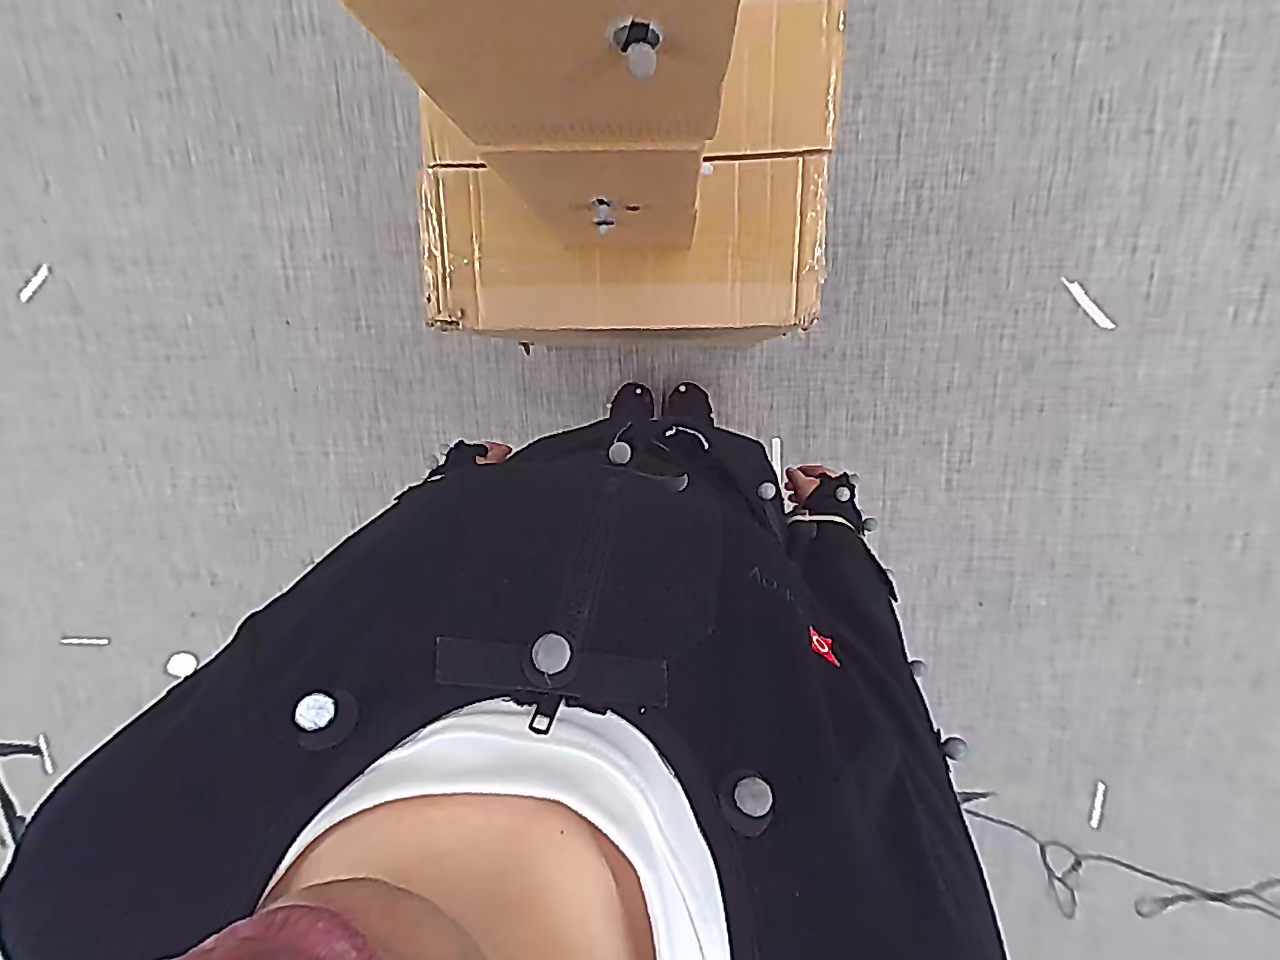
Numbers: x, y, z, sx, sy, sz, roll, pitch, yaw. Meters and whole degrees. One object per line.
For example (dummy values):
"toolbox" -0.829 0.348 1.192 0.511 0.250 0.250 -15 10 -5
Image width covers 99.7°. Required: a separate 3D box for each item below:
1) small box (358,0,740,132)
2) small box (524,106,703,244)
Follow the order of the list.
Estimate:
"small box" -0.037 -0.304 0.278 0.179 0.176 0.168 1 102 4
"small box" -0.021 -0.368 0.600 0.179 0.176 0.168 2 102 3
